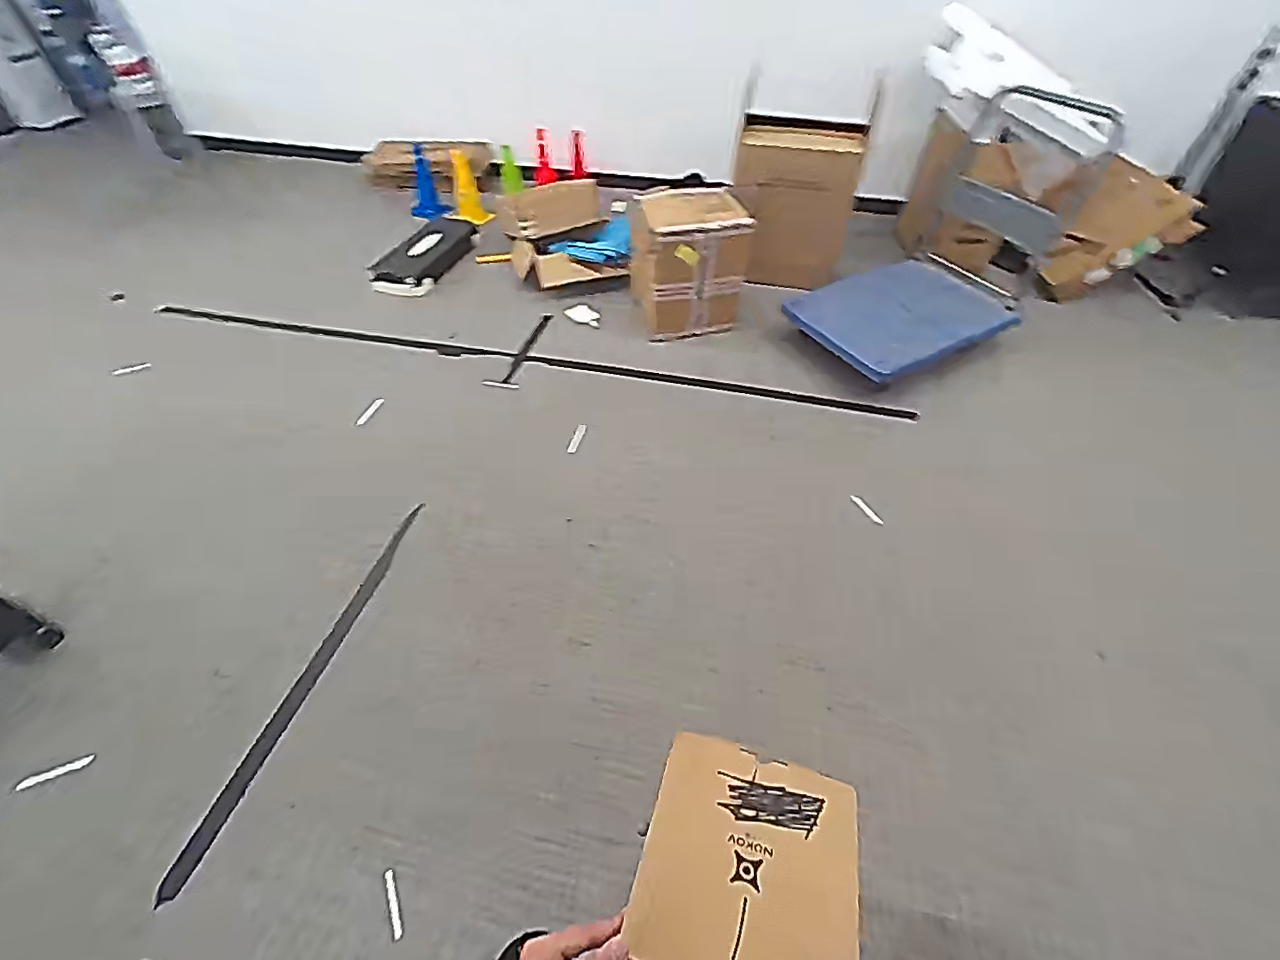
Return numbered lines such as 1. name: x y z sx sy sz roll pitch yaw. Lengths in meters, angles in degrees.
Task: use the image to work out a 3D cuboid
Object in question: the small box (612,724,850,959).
1. small box: 0.076 0.359 0.472 0.168 0.176 0.179 12 35 12
